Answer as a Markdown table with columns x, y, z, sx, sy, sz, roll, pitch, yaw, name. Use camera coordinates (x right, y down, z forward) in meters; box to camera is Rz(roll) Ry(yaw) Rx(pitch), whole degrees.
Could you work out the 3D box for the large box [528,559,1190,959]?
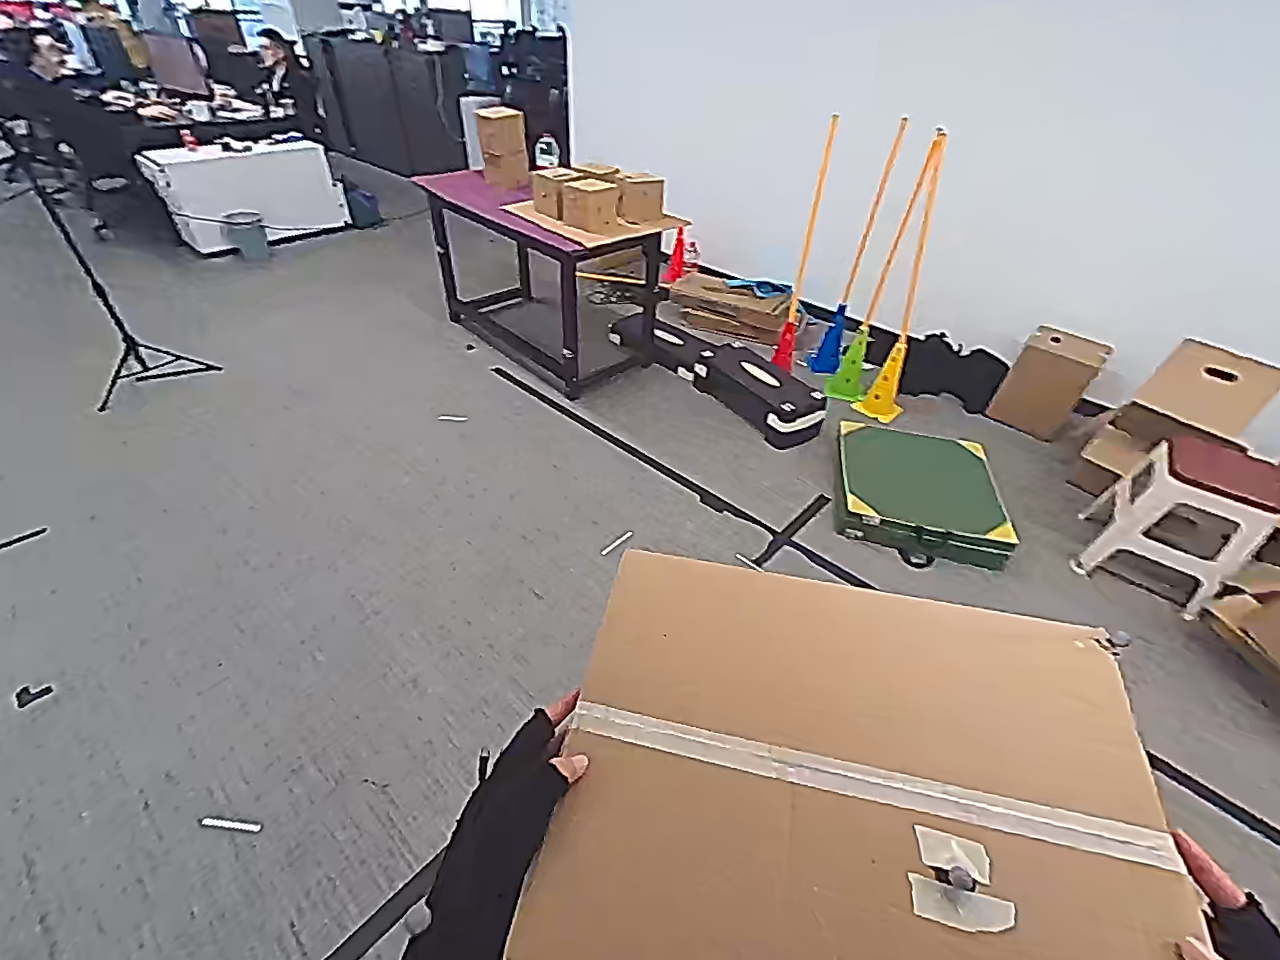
| x | y | z | sx | sy | sz | roll | pitch | yaw | name |
| --- | --- | --- | --- | --- | --- | --- | --- | --- | --- |
| 0.159 | 0.311 | 0.513 | 0.408 | 0.320 | 0.320 | 8 | 52 | 12 | large box |
